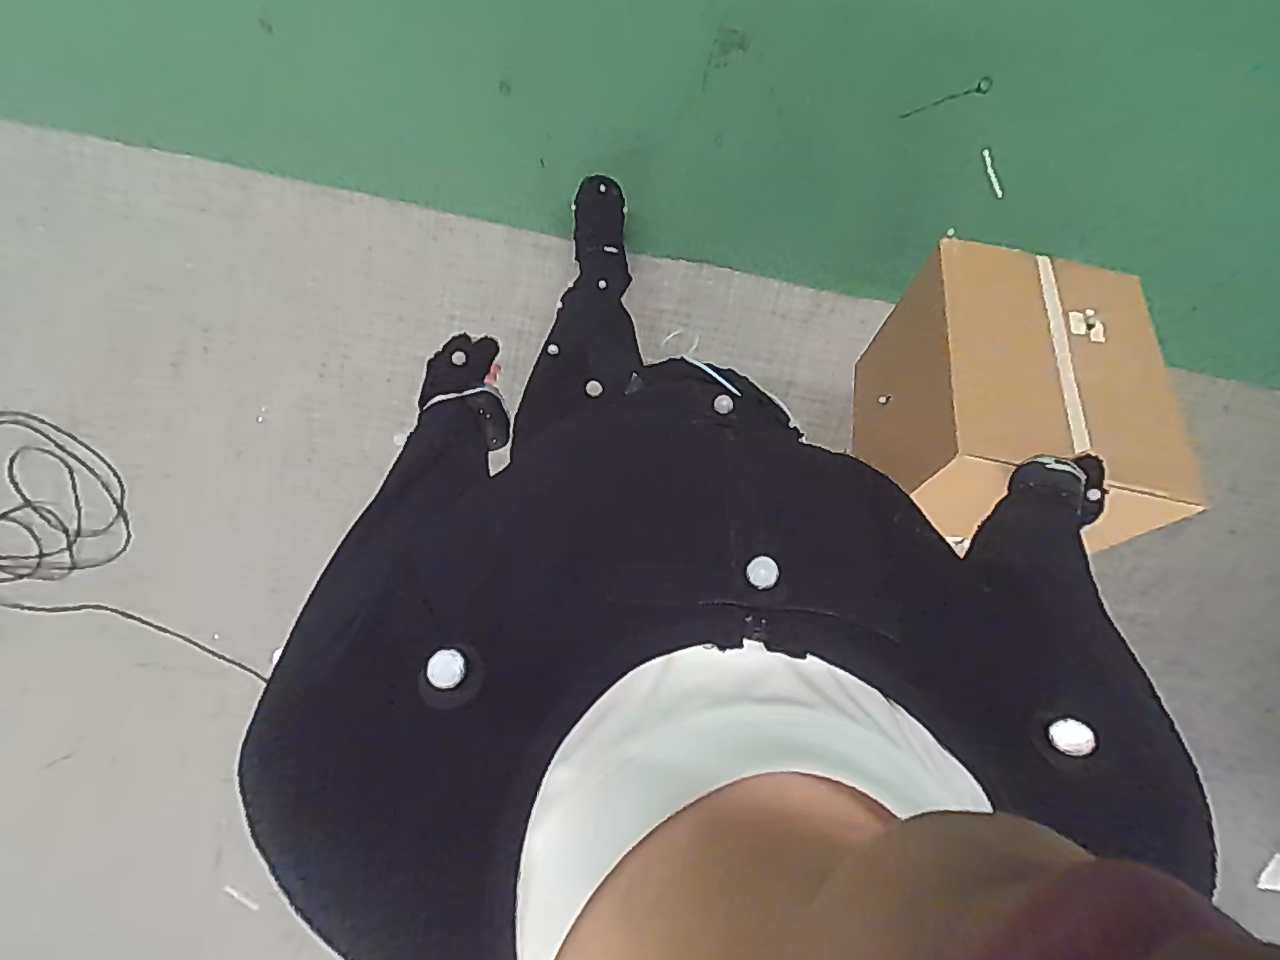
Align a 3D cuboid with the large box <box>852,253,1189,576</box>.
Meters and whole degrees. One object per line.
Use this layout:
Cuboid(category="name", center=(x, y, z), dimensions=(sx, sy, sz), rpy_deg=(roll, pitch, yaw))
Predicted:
Cuboid(category="large box", center=(0.565, -0.095, 0.902), dimensions=(0.320, 0.320, 0.408), rpy_deg=(13, 62, 1))
